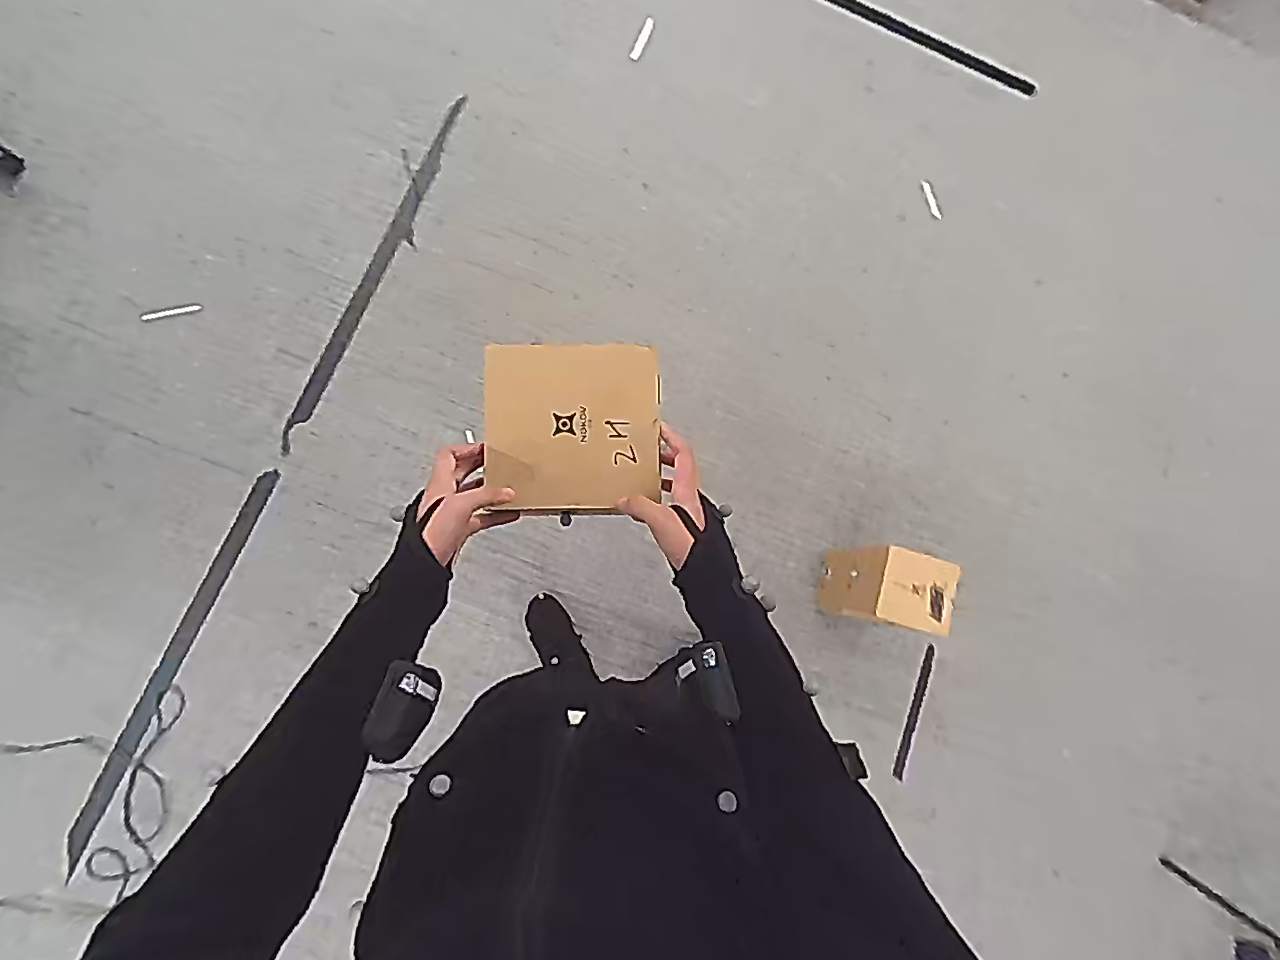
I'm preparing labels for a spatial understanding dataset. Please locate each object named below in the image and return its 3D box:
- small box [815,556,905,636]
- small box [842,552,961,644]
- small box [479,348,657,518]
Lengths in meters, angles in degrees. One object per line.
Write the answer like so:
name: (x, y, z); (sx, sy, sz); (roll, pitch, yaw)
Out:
small box: (0.596, 0.300, 1.438); (0.179, 0.176, 0.168); (16, 81, -3)
small box: (0.610, 0.271, 1.278); (0.179, 0.176, 0.168); (18, 81, -3)
small box: (-0.073, -0.042, 0.614); (0.179, 0.176, 0.168); (0, 85, -3)
